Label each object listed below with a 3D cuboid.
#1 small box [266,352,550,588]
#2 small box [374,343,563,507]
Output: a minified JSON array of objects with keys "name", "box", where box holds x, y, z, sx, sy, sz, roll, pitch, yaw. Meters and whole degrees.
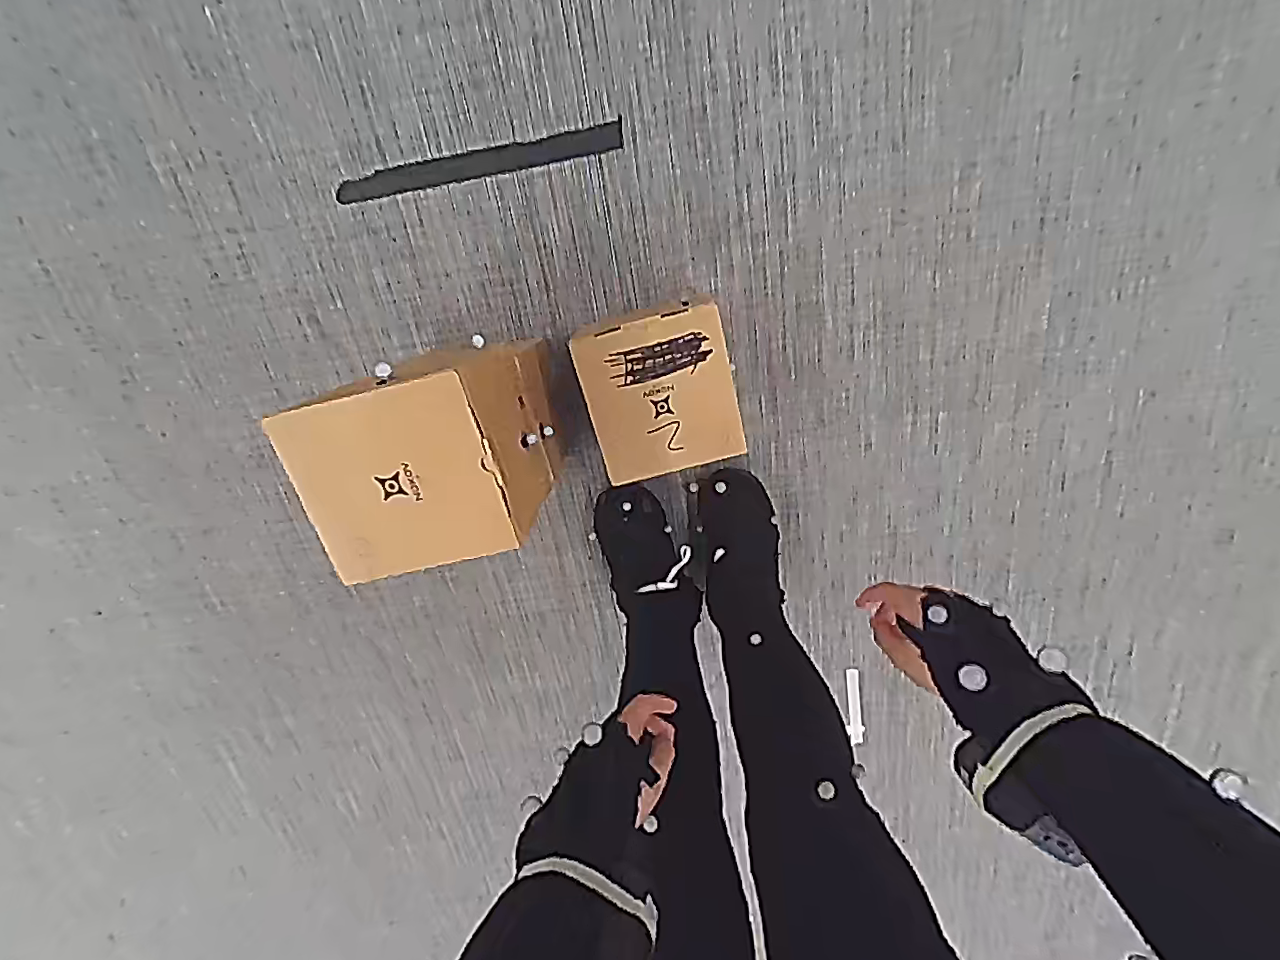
[{"name":"small box","box":[-0.206,-0.019,0.536,0.179,0.176,0.168,-13,110,5]},{"name":"small box","box":[-0.200,-0.070,0.691,0.168,0.176,0.179,-6,110,3]}]
